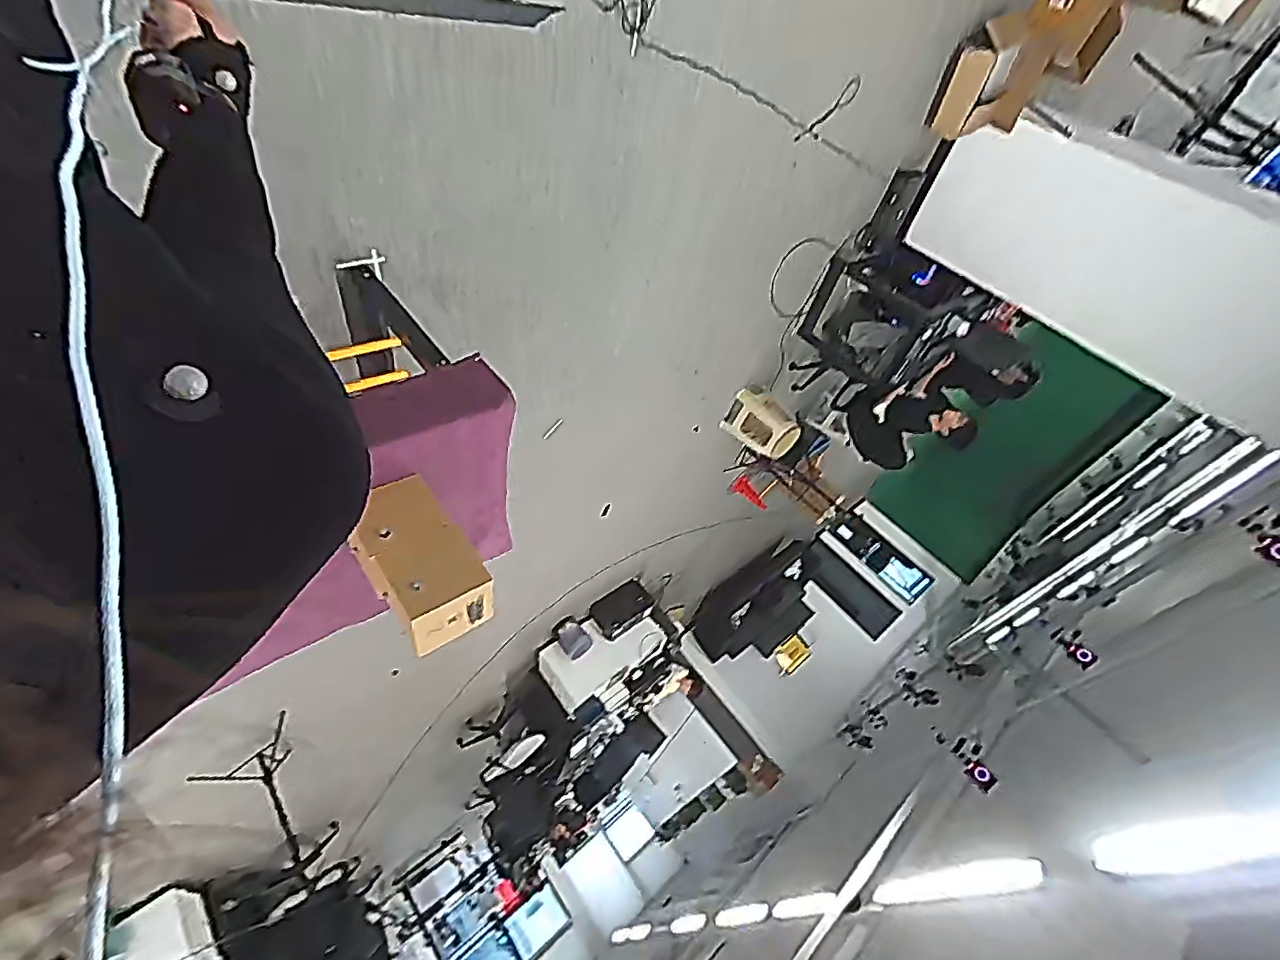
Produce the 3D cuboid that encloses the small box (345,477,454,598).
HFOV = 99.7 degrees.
[{"bbox_3d":[-0.537,0.124,1.209,0.179,0.176,0.168,-25,150,-34],"label":"small box"}]
